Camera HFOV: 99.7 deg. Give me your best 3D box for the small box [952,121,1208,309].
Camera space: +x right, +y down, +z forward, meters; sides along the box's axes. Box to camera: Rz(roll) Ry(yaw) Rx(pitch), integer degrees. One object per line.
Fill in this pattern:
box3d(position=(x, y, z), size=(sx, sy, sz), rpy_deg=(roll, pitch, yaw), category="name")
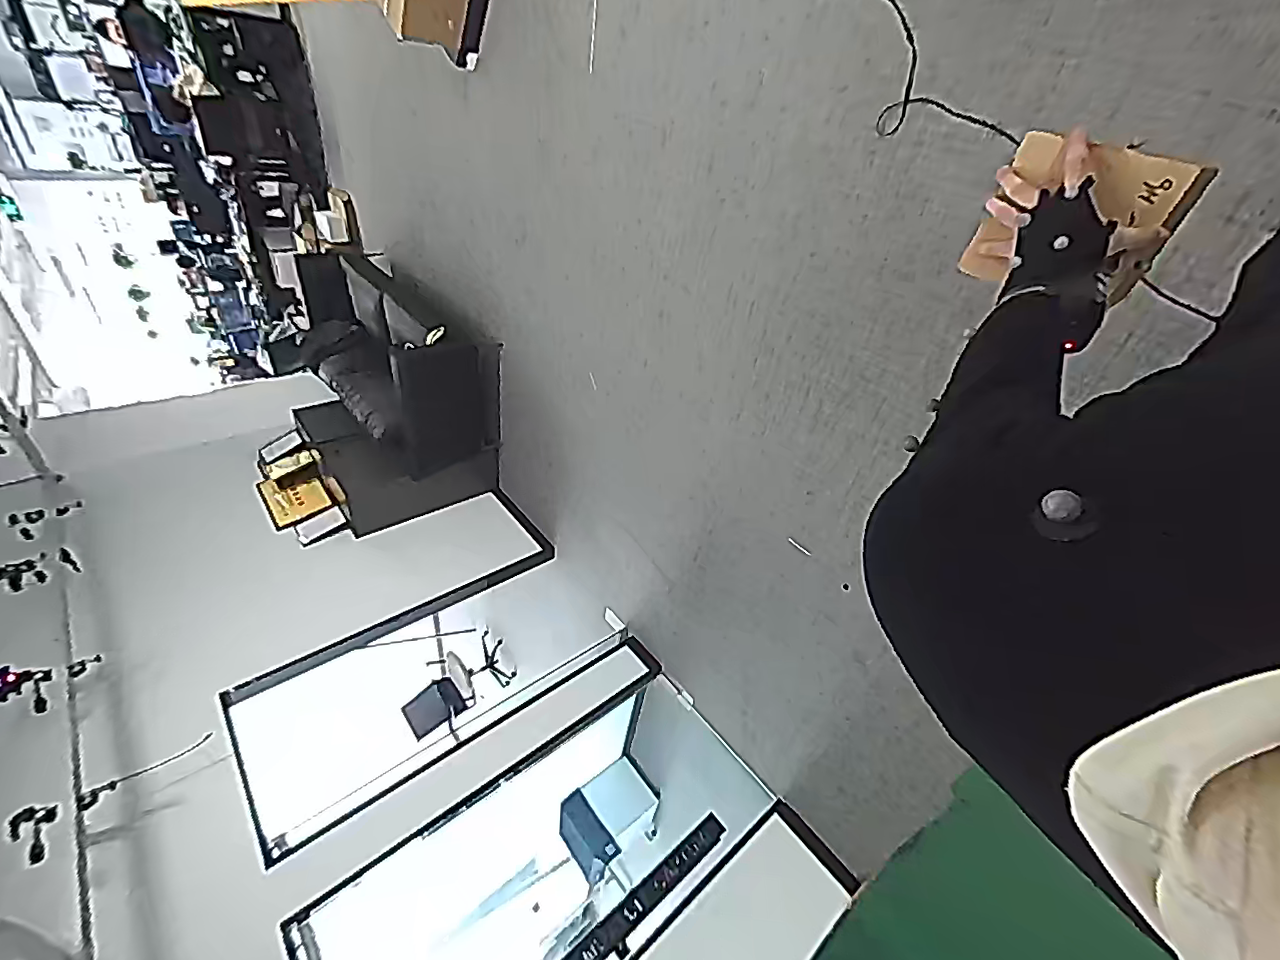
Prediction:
box3d(position=(0.551, -0.338, 0.687), size=(0.179, 0.176, 0.168), rpy_deg=(41, 138, 31), category="small box")
